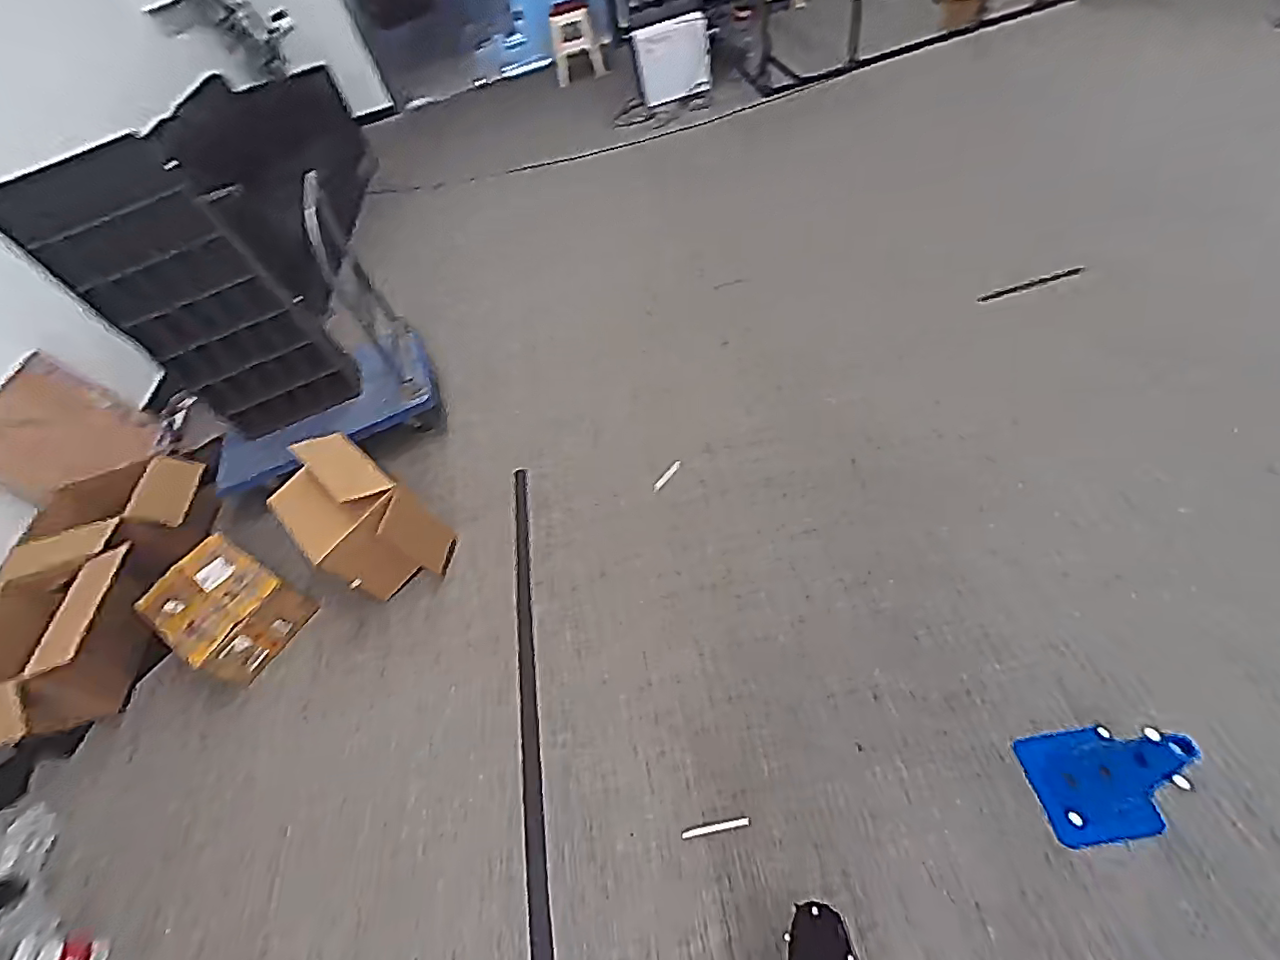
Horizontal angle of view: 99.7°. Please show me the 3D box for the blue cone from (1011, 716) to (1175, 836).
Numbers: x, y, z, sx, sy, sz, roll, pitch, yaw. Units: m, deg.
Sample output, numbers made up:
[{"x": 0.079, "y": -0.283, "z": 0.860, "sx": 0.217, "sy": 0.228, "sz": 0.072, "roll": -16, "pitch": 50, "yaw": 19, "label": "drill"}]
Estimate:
[{"x": 0.864, "y": 0.512, "z": 0.986, "sx": 0.193, "sy": 0.380, "sz": 0.192, "roll": -12, "pitch": 50, "yaw": 6, "label": "blue cone"}]
